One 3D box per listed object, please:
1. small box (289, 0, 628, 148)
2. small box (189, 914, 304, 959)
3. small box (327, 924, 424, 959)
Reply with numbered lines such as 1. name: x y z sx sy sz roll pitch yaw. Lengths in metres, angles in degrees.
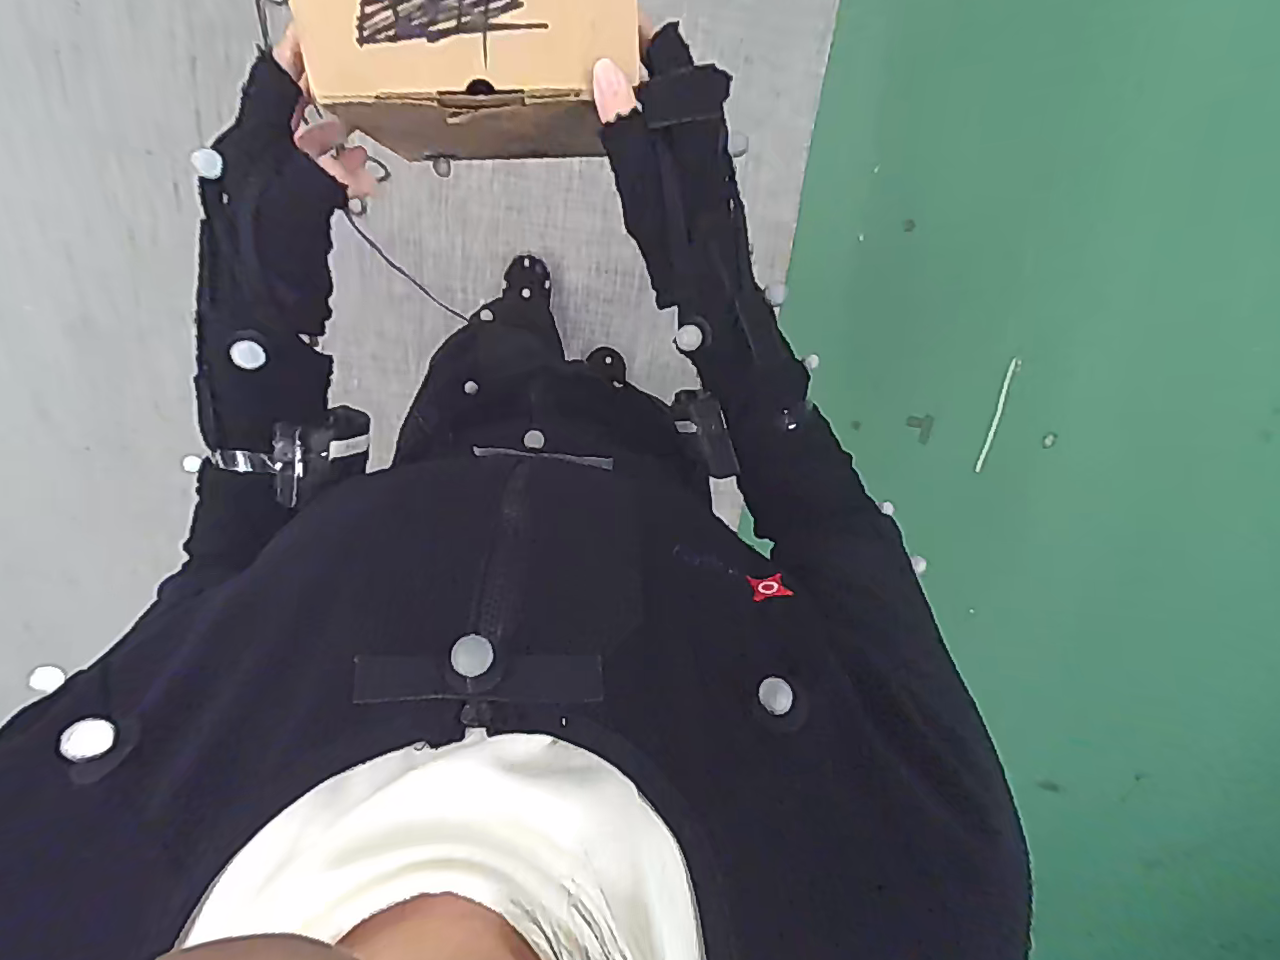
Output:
1. small box: -0.096 -0.311 0.320 0.168 0.176 0.179 -5 110 -4
2. small box: -0.752 0.959 1.001 0.168 0.176 0.179 10 106 -7
3. small box: -0.520 0.999 1.030 0.168 0.176 0.179 5 105 -6
